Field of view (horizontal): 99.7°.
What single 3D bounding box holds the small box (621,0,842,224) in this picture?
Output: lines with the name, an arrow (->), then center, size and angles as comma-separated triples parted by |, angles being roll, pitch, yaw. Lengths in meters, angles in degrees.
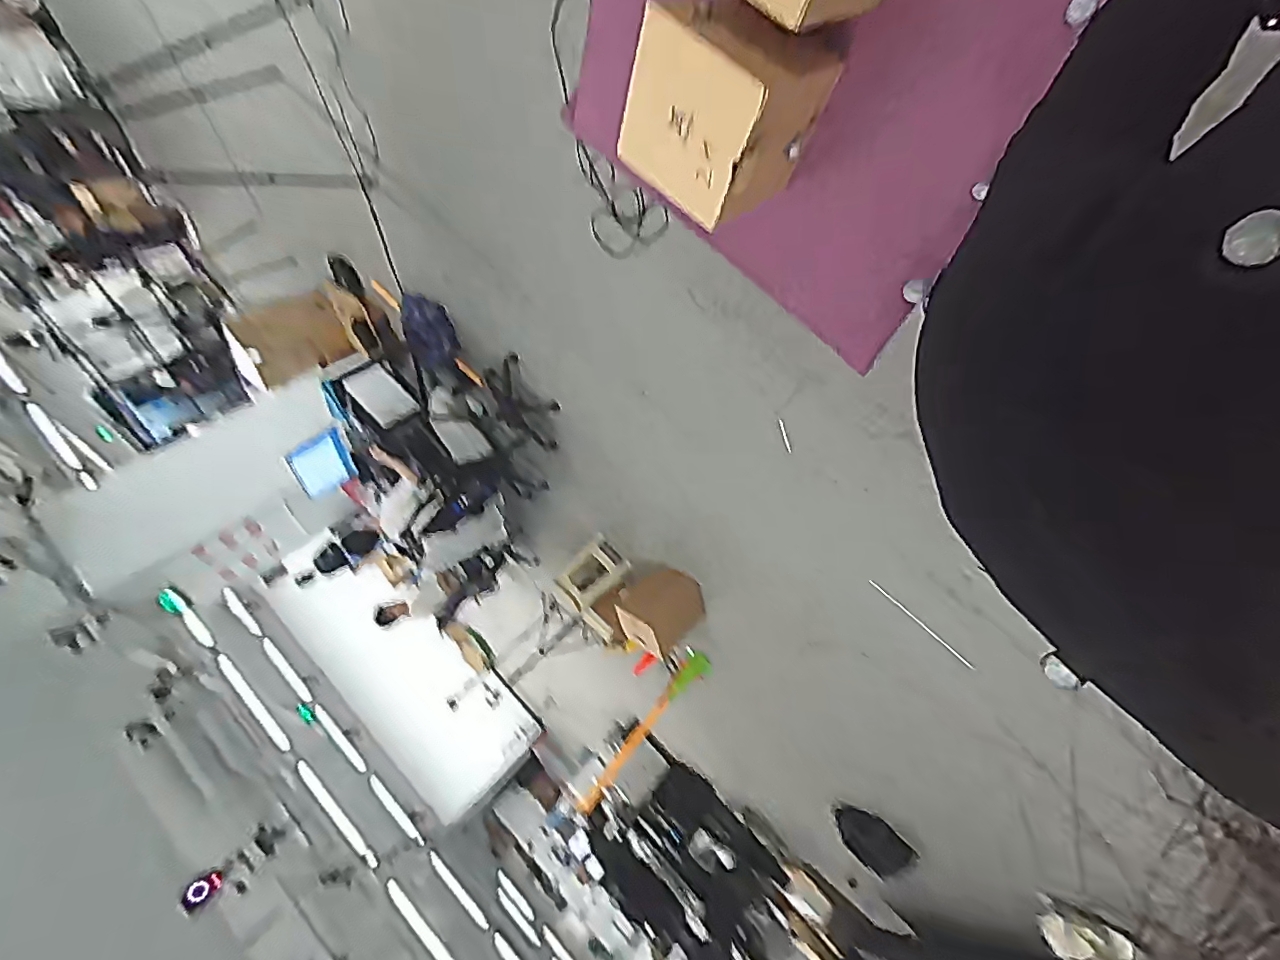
small box -> 0.108, -0.461, 0.672 | 0.179, 0.176, 0.168 | 44, 150, 11
